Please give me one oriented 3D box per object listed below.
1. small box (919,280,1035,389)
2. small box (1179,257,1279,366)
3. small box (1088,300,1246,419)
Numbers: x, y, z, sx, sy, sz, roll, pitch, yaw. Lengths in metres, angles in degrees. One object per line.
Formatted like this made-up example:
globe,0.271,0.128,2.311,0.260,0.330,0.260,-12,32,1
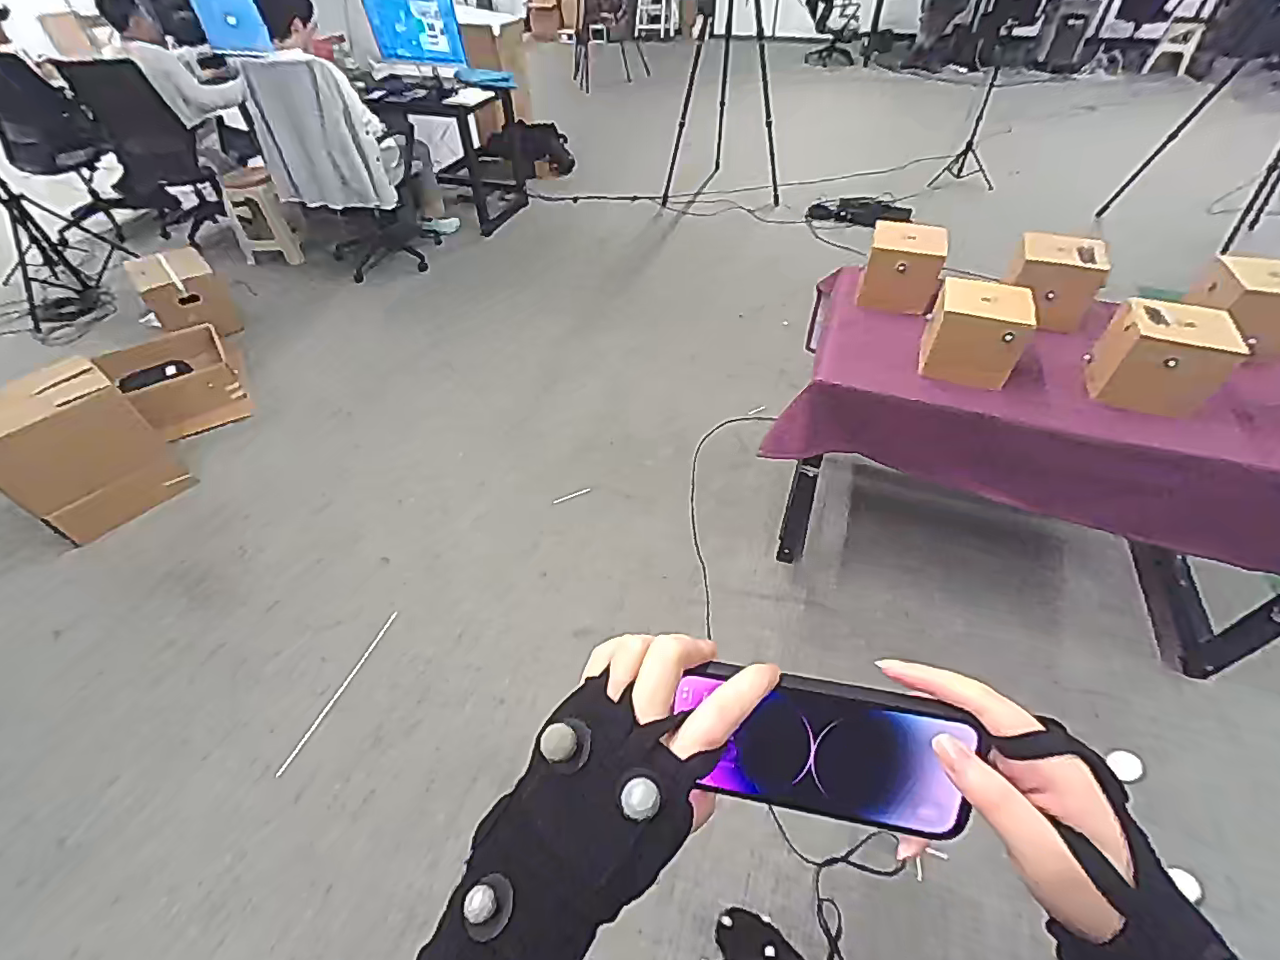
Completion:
small box,0.750,-0.326,1.221,0.179,0.176,0.168,16,49,15
small box,1.400,-0.393,1.256,0.168,0.176,0.179,12,49,14
small box,1.084,-0.252,1.137,0.179,0.176,0.168,18,50,17
